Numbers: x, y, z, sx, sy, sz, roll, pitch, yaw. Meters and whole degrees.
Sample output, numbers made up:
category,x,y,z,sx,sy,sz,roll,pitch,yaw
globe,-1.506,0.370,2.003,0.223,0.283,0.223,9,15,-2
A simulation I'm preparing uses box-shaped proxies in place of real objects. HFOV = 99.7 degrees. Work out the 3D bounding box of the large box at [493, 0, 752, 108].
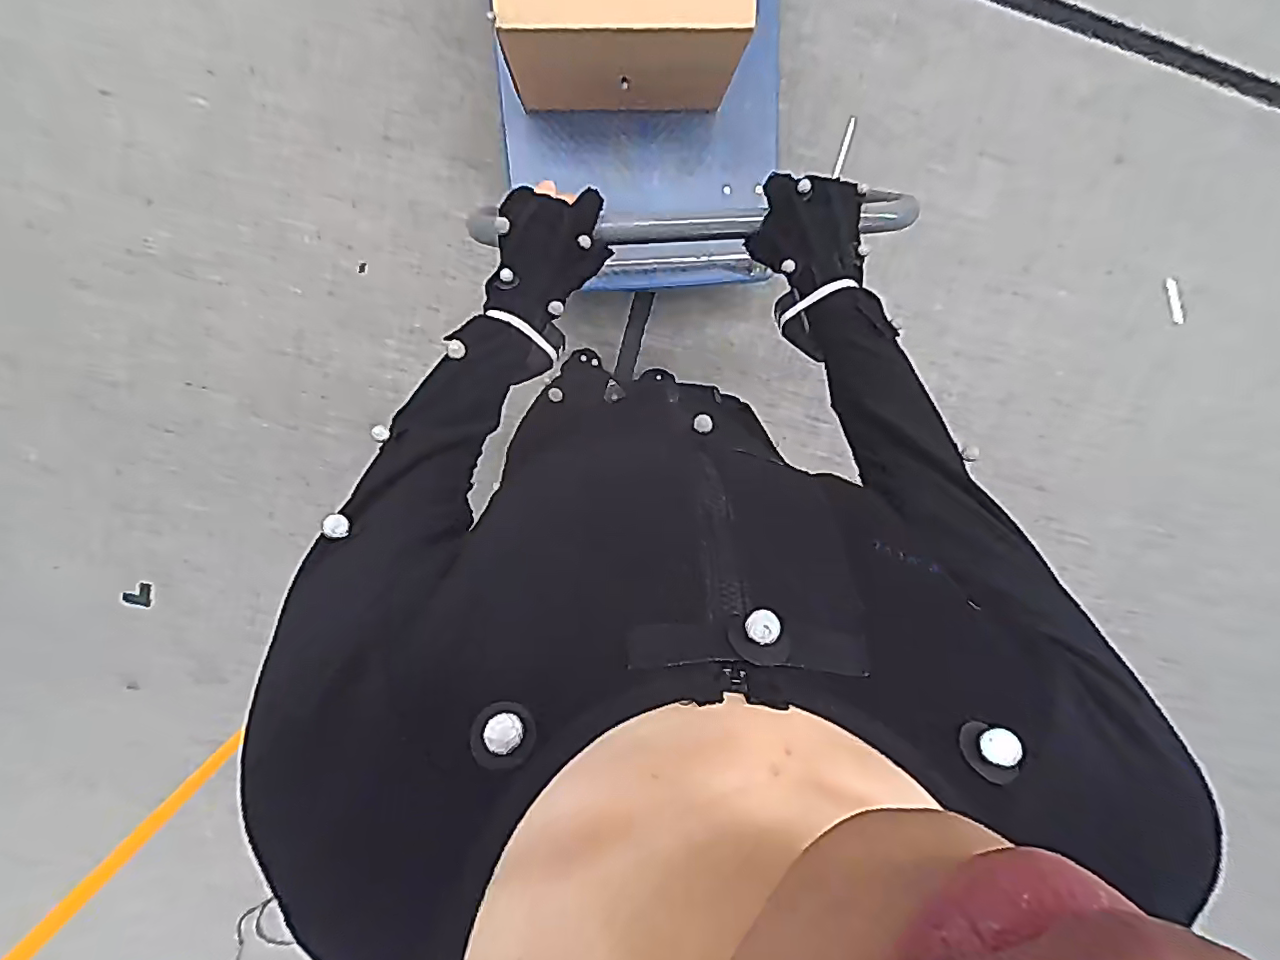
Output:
category,x,y,z,sx,sy,sz,roll,pitch,yaw
large box,-0.035,-0.883,0.942,0.408,0.320,0.320,-2,104,-2

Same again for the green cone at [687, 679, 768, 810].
category,x,y,z,sx,sy,sz,roll,pitch,yaw
green cone,0.276,0.755,1.500,0.202,0.368,0.200,17,102,-9
